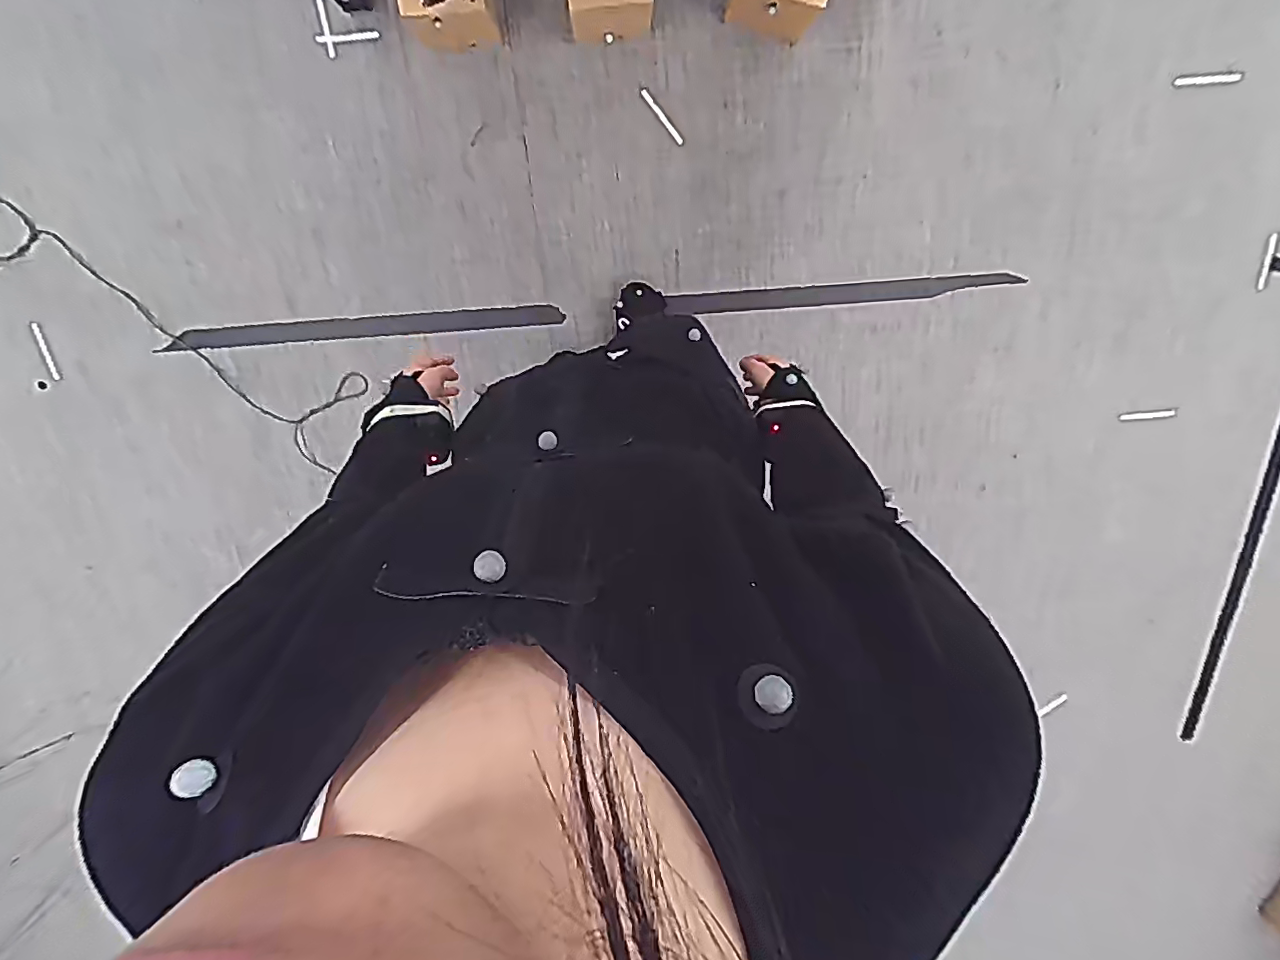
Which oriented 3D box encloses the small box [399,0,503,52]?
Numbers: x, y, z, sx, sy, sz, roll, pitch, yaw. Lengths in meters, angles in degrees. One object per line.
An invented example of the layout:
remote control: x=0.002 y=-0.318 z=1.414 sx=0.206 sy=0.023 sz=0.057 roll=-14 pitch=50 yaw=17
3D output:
small box: x=-0.378 y=-0.996 z=1.076 sx=0.168 sy=0.176 sz=0.179 roll=-3 pitch=108 yaw=-1

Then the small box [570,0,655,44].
small box: x=-0.062 y=-1.016 z=1.080 sx=0.168 sy=0.176 sz=0.179 roll=-6 pitch=110 yaw=0

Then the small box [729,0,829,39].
small box: x=0.295 y=-1.033 z=1.089 sx=0.179 sy=0.176 sz=0.168 roll=12 pitch=109 yaw=-5
